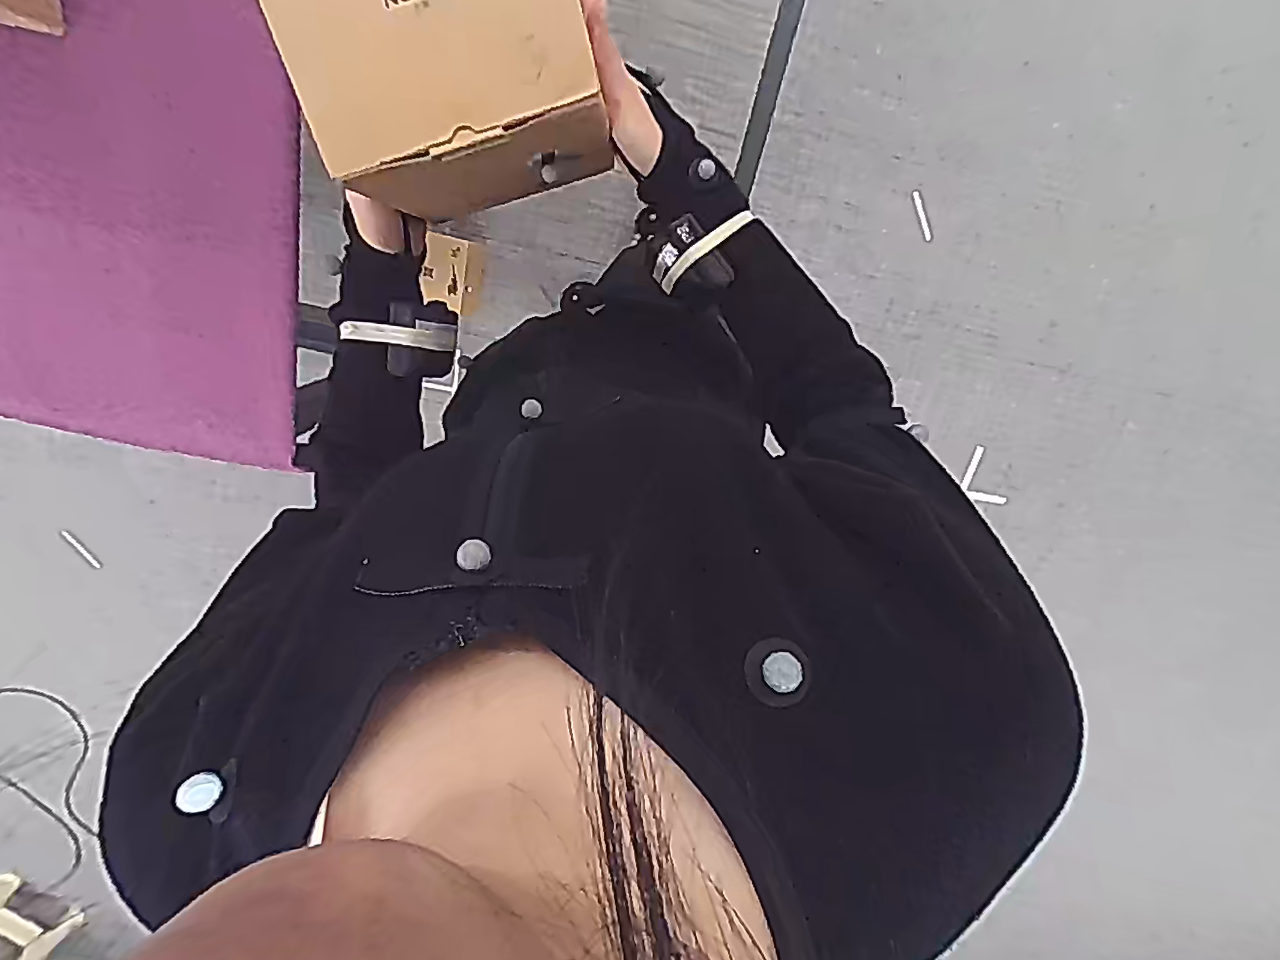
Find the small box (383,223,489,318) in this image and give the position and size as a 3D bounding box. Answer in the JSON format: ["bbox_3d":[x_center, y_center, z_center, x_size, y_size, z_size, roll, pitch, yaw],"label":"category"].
[{"bbox_3d":[-0.469,-0.481,1.257,0.179,0.176,0.168,13,110,-5],"label":"small box"}]

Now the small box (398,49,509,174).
[{"bbox_3d":[-0.391,-0.769,1.150,0.179,0.176,0.168,11,110,-6],"label":"small box"}]
